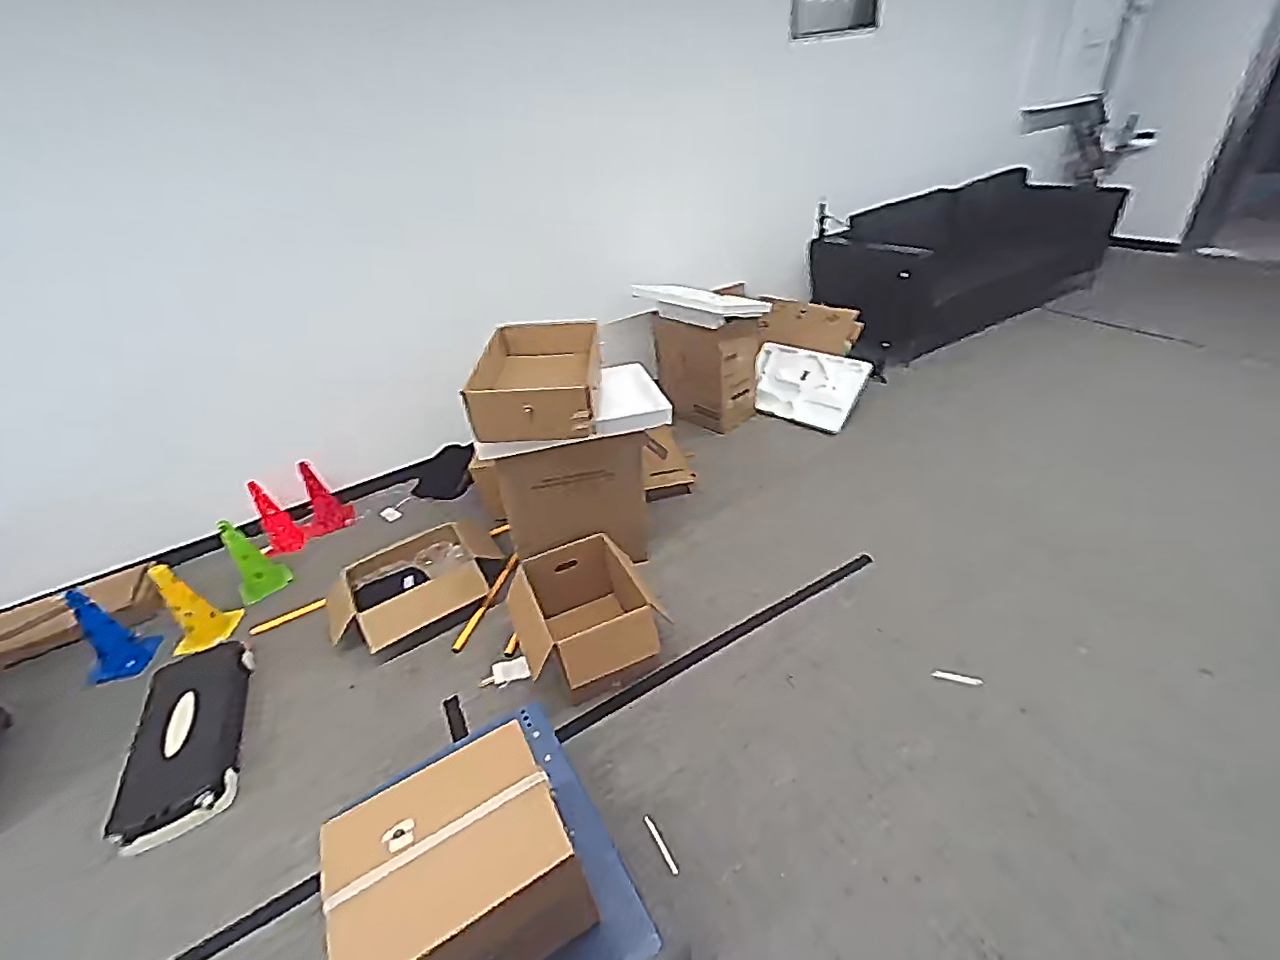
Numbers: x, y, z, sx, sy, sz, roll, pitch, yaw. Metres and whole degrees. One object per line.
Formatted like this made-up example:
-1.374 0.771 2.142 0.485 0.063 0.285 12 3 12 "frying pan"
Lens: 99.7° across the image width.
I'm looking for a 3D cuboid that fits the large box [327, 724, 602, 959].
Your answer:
-0.338 0.793 1.082 0.408 0.320 0.320 -24 36 -21 "large box"
